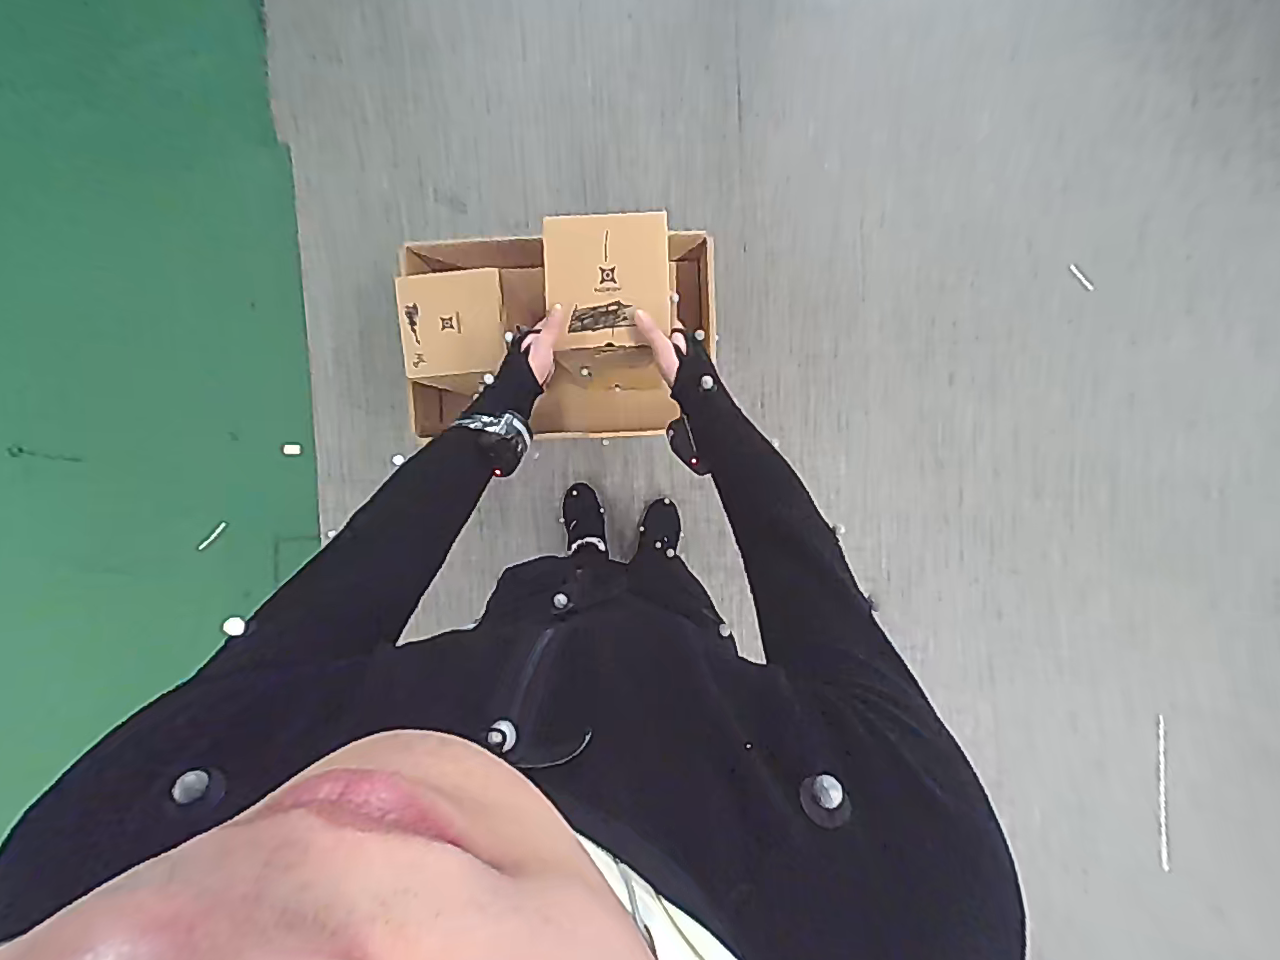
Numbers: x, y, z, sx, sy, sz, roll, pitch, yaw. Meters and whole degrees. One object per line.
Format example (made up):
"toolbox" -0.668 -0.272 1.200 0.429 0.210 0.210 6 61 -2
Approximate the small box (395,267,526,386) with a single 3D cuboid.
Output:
"small box" -0.303 -0.262 0.954 0.179 0.176 0.168 -5 93 0

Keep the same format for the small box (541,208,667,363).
"small box" -0.044 -0.268 0.784 0.168 0.176 0.179 -2 92 1

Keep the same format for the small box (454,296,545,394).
"small box" -0.301 -0.272 1.117 0.179 0.176 0.168 -3 93 0
